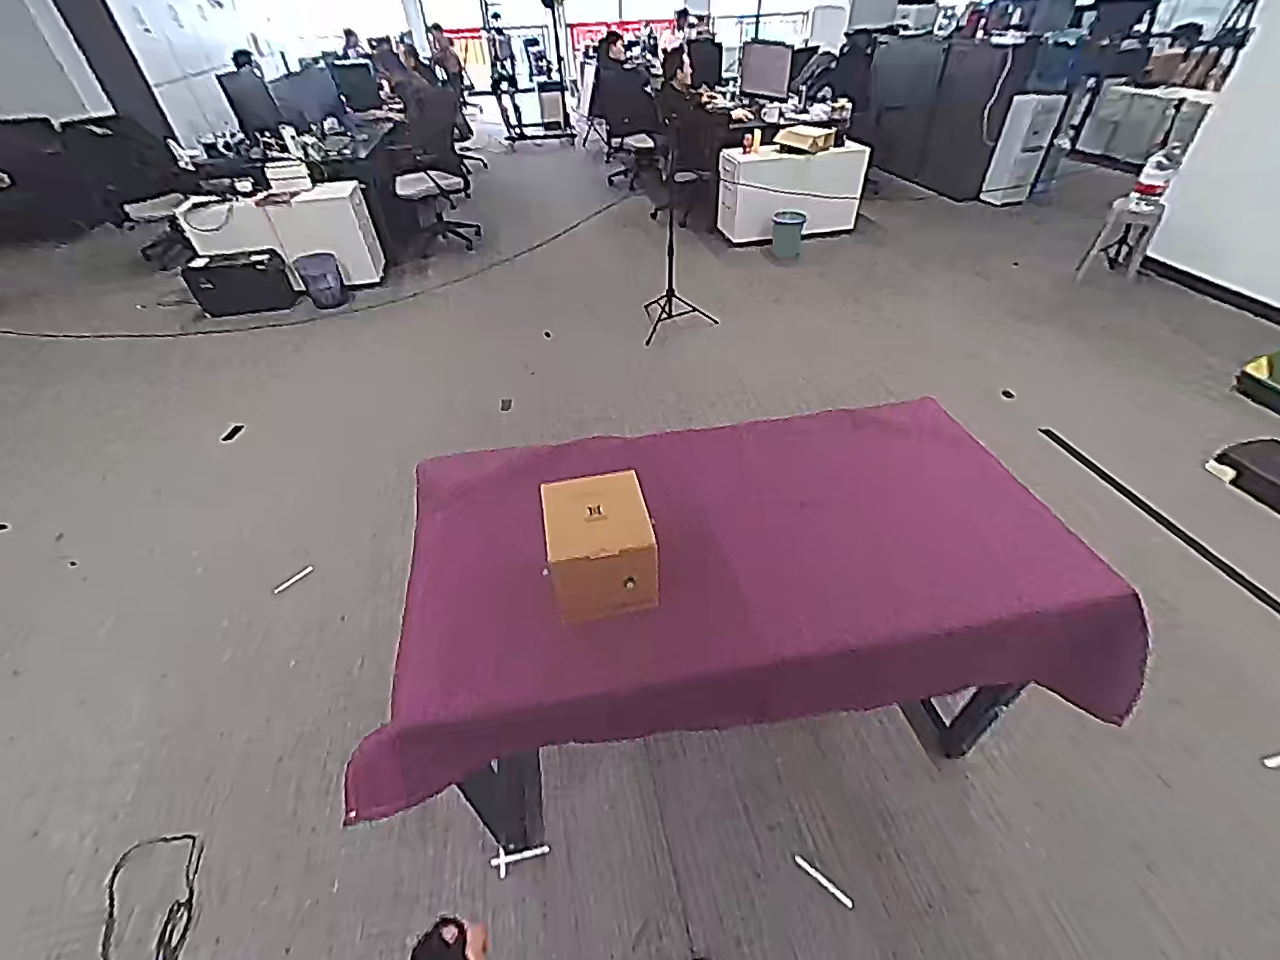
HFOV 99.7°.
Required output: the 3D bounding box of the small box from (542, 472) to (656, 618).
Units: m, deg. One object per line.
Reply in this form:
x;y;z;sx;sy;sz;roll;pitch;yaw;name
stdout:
-0.068;0.115;0.915;0.168;0.176;0.179;-9;42;-8;small box
